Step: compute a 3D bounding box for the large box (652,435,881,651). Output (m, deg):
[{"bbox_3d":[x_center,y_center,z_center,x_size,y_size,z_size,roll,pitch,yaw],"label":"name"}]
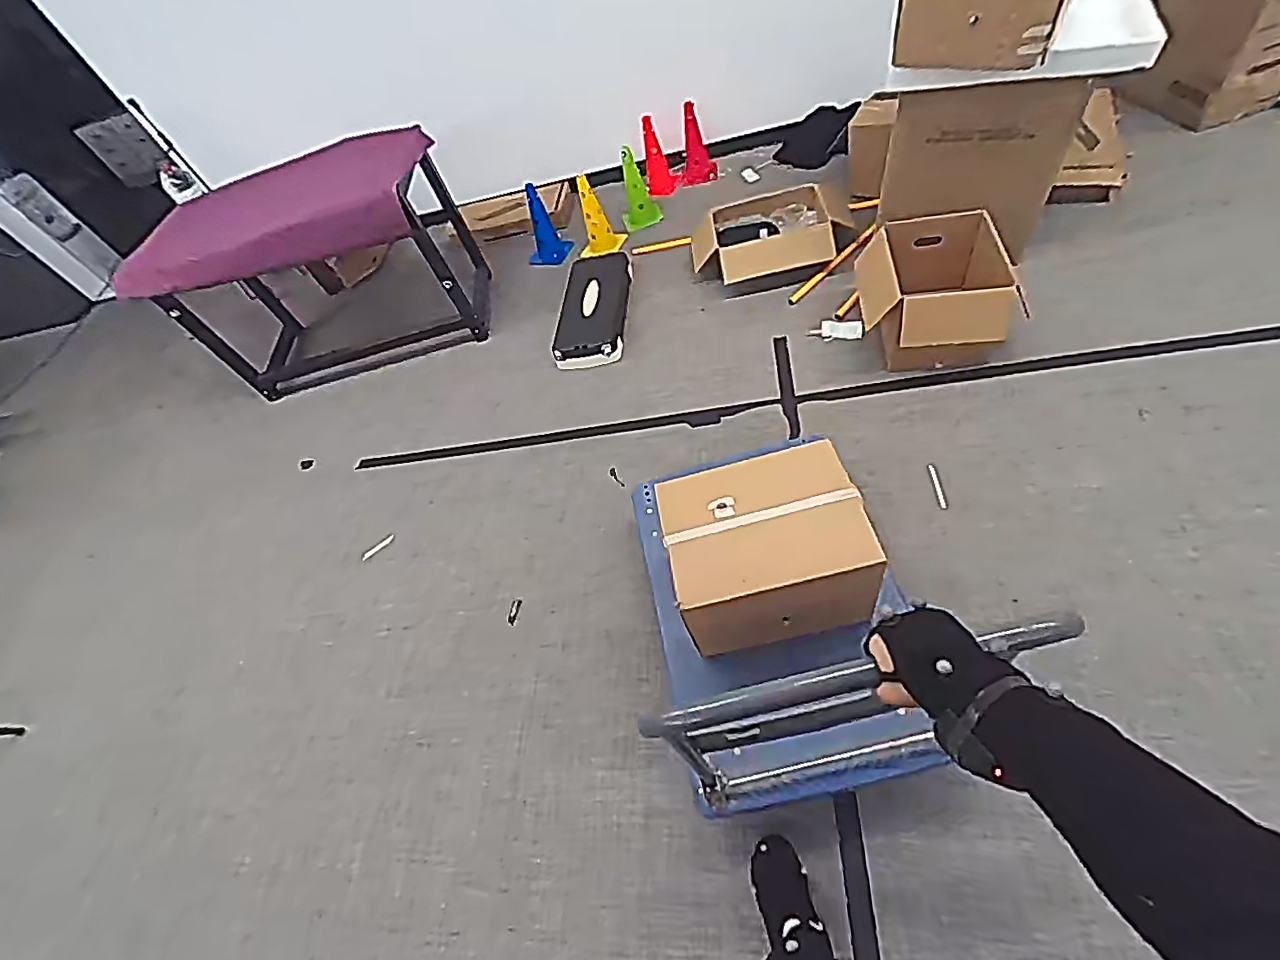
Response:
[{"bbox_3d":[0.278,0.156,1.234,0.408,0.320,0.320,-16,52,7],"label":"large box"}]
